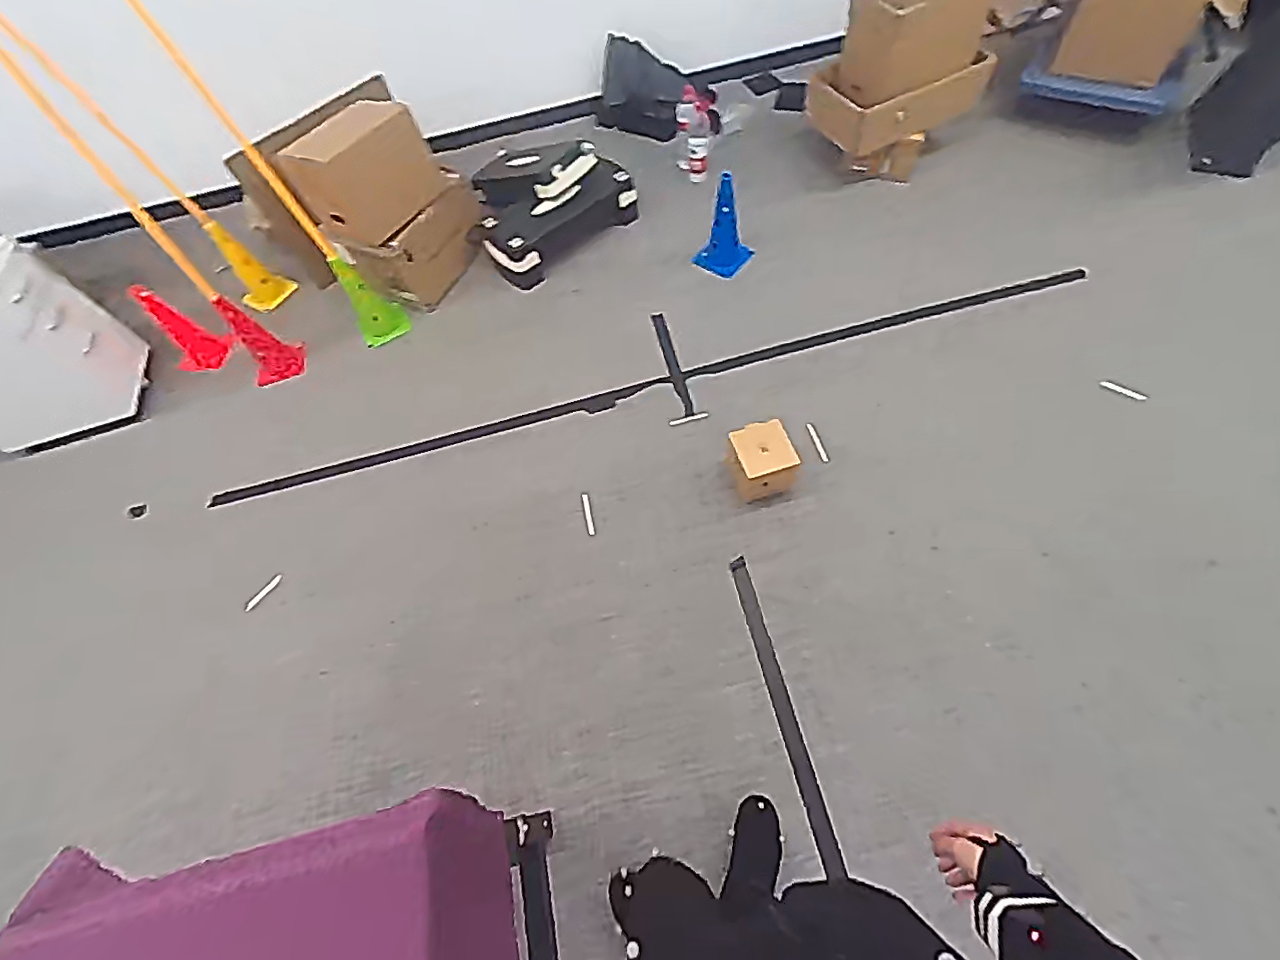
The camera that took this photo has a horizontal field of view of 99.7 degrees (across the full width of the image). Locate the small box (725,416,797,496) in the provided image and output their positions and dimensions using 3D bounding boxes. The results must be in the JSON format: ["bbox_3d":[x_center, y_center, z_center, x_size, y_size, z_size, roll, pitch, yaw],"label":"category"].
[{"bbox_3d":[0.374,-0.065,1.701,0.168,0.176,0.179,-18,60,-3],"label":"small box"}]
